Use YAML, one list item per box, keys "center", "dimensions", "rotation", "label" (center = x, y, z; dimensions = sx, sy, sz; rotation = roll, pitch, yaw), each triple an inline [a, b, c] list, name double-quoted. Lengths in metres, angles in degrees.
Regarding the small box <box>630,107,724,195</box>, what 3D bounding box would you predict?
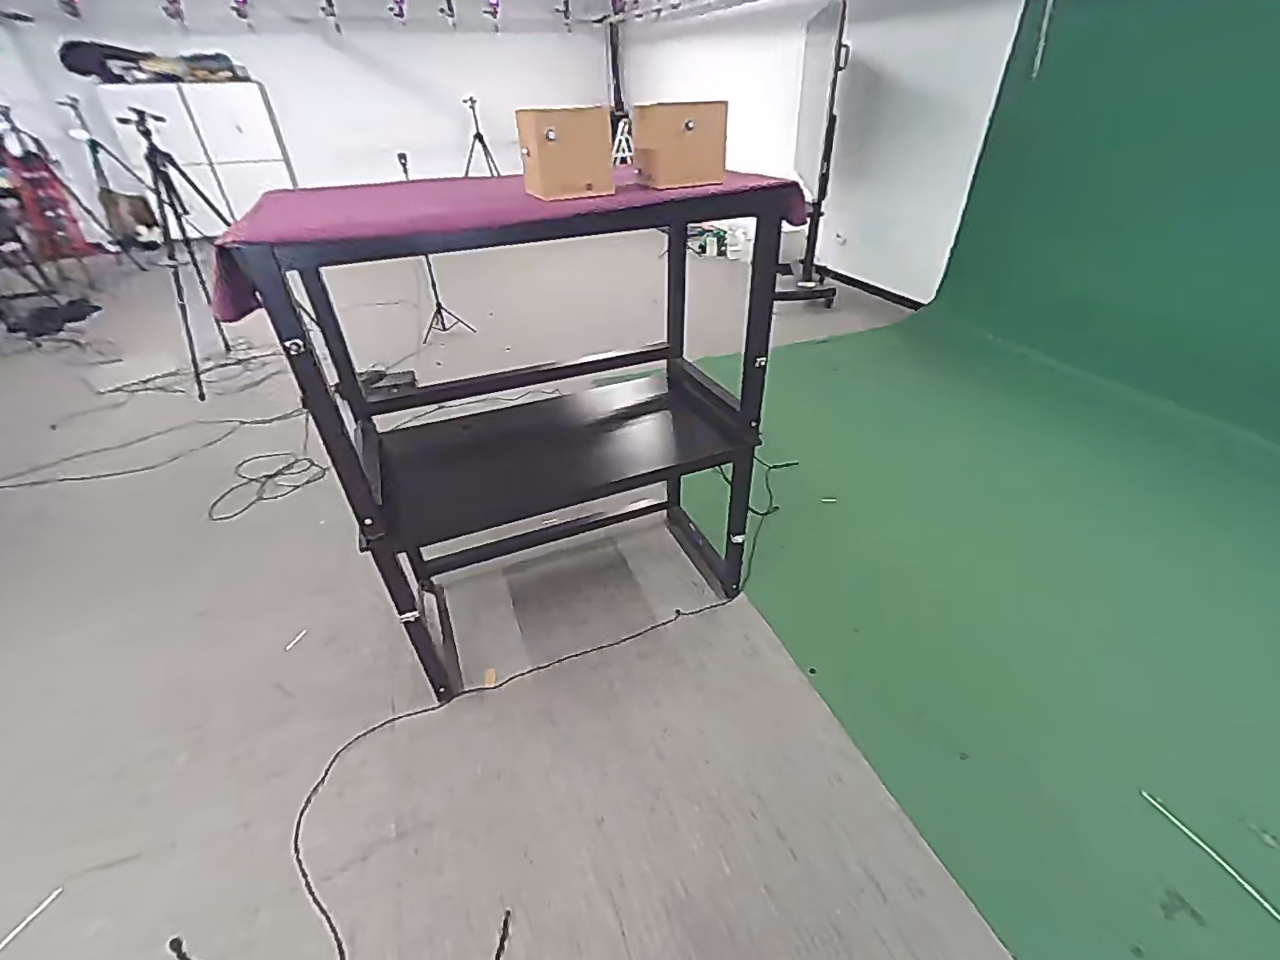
- center: [0.089, -0.800, 1.315]
  dimensions: [0.179, 0.176, 0.168]
  rotation: [-14, 37, -17]
  label: "small box"
